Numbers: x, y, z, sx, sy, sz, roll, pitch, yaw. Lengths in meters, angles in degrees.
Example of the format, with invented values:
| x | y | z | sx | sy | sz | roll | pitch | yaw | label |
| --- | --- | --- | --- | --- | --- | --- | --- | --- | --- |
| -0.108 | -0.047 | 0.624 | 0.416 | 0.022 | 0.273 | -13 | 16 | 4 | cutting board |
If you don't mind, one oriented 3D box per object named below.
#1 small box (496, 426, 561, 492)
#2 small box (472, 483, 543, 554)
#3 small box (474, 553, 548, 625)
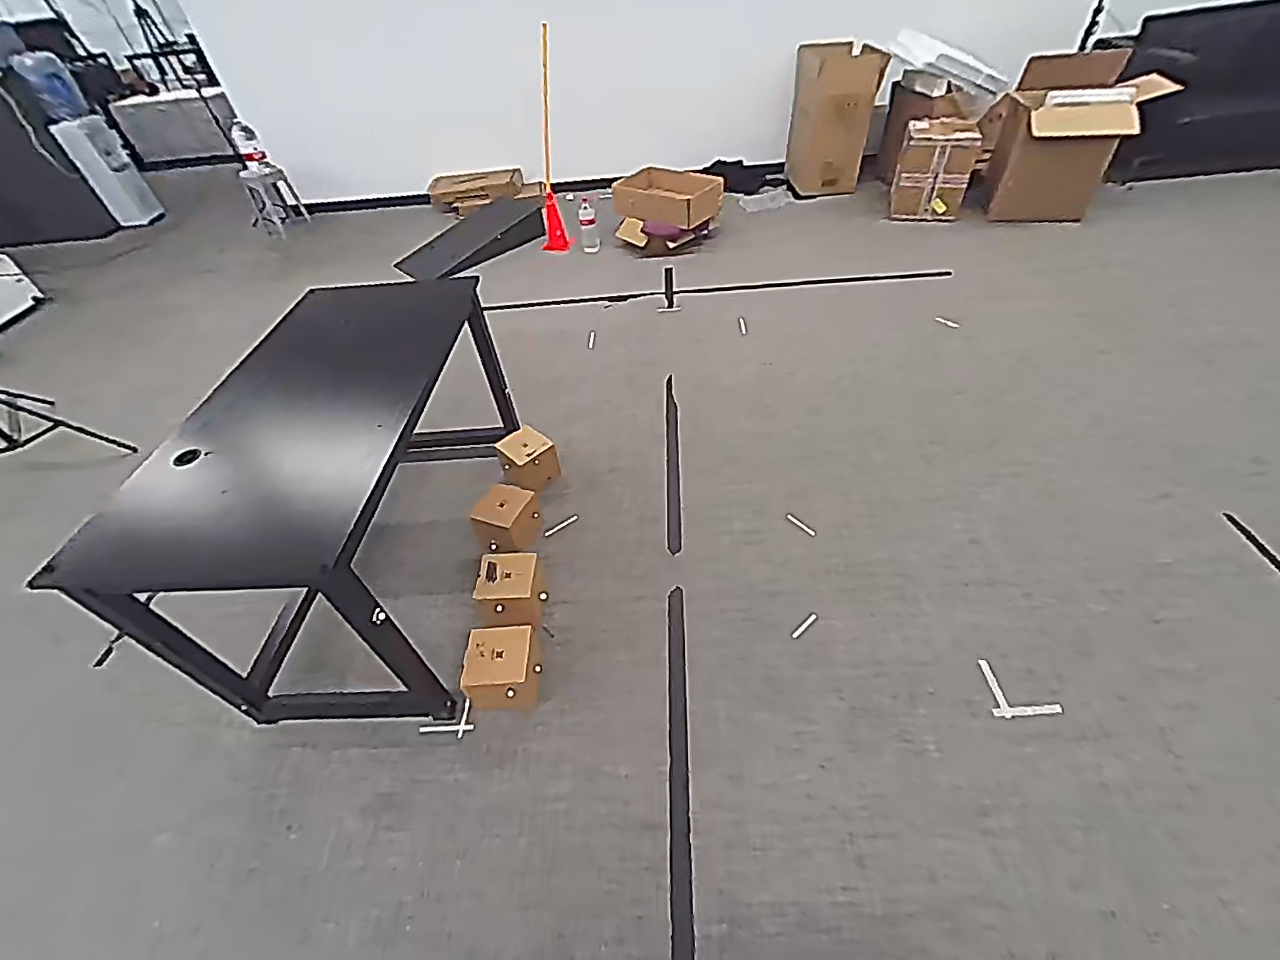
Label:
| x | y | z | sx | sy | sz | roll | pitch | yaw | label |
| --- | --- | --- | --- | --- | --- | --- | --- | --- | --- |
| -0.435 | -0.078 | 2.131 | 0.179 | 0.176 | 0.168 | 33 | 58 | 32 | small box |
| -0.463 | 0.142 | 1.925 | 0.168 | 0.176 | 0.179 | 12 | 50 | 19 | small box |
| -0.402 | 0.349 | 1.714 | 0.179 | 0.176 | 0.168 | -2 | 46 | 2 | small box |
